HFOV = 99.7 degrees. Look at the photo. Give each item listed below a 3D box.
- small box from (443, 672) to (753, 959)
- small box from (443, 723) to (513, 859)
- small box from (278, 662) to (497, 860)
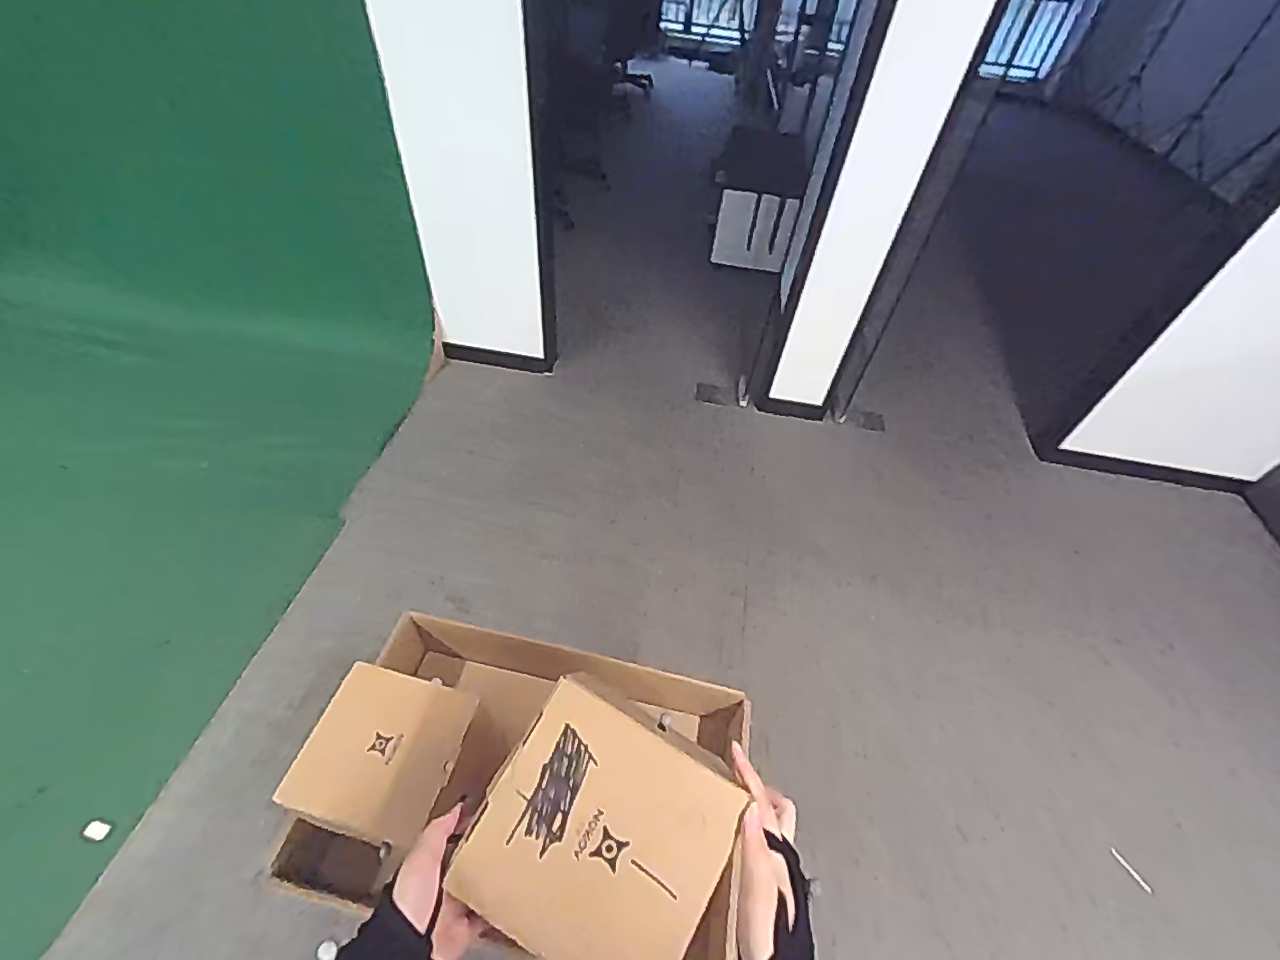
[{"bbox_3d":[-0.030,0.288,0.473,0.179,0.176,0.168,29,74,8],"label":"small box"},{"bbox_3d":[-0.310,0.460,0.825,0.179,0.176,0.168,13,49,6],"label":"small box"},{"bbox_3d":[-0.303,0.364,0.694,0.179,0.176,0.168,14,49,5],"label":"small box"}]
